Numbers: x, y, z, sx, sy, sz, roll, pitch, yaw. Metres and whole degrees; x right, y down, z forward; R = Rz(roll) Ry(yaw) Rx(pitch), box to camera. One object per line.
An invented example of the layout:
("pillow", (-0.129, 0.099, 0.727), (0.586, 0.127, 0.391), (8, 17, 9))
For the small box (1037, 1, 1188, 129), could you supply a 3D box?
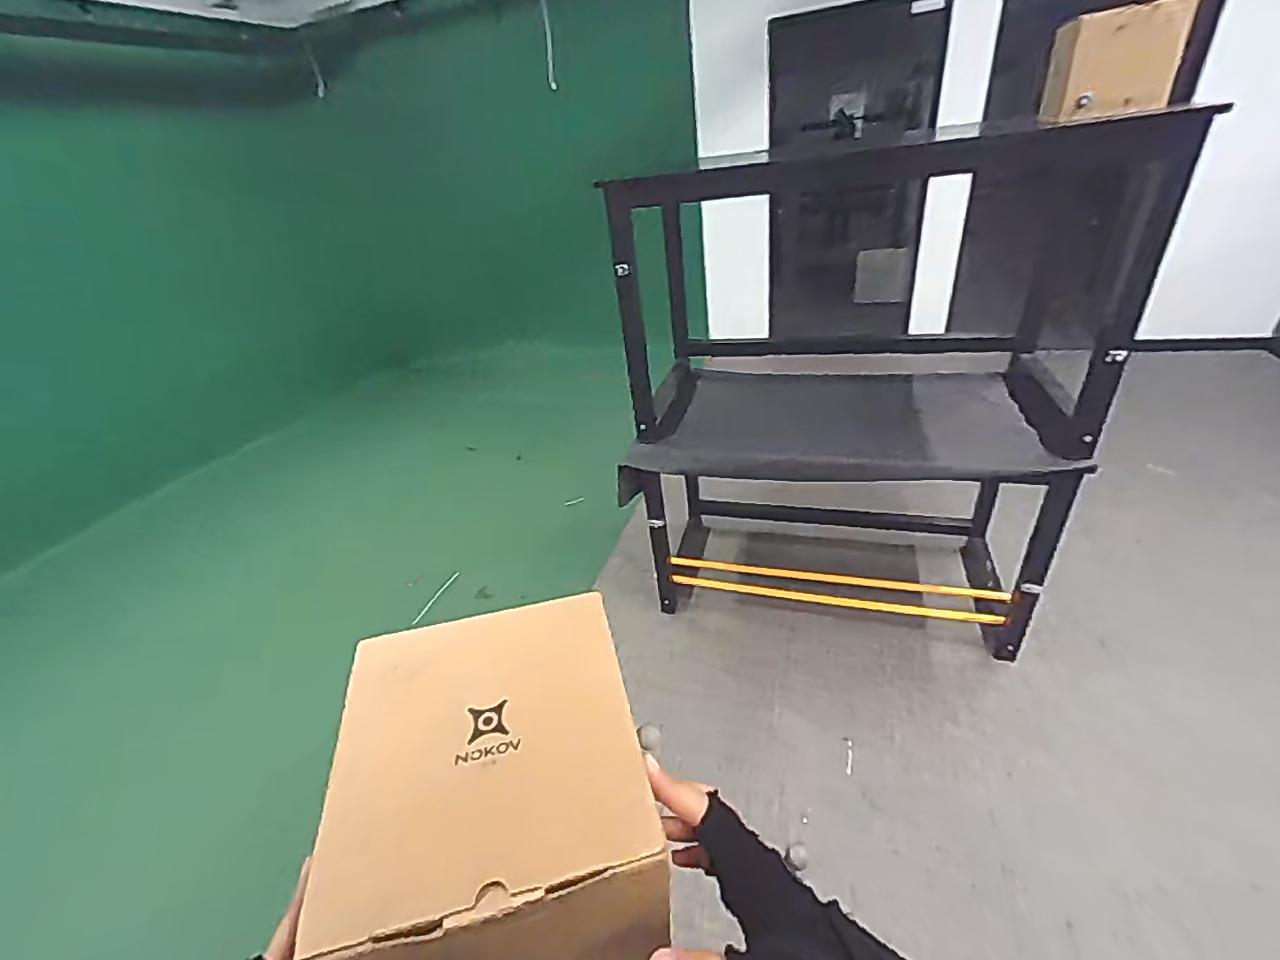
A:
("small box", (0.918, -0.807, 1.071), (0.168, 0.176, 0.179), (5, 33, 21))
